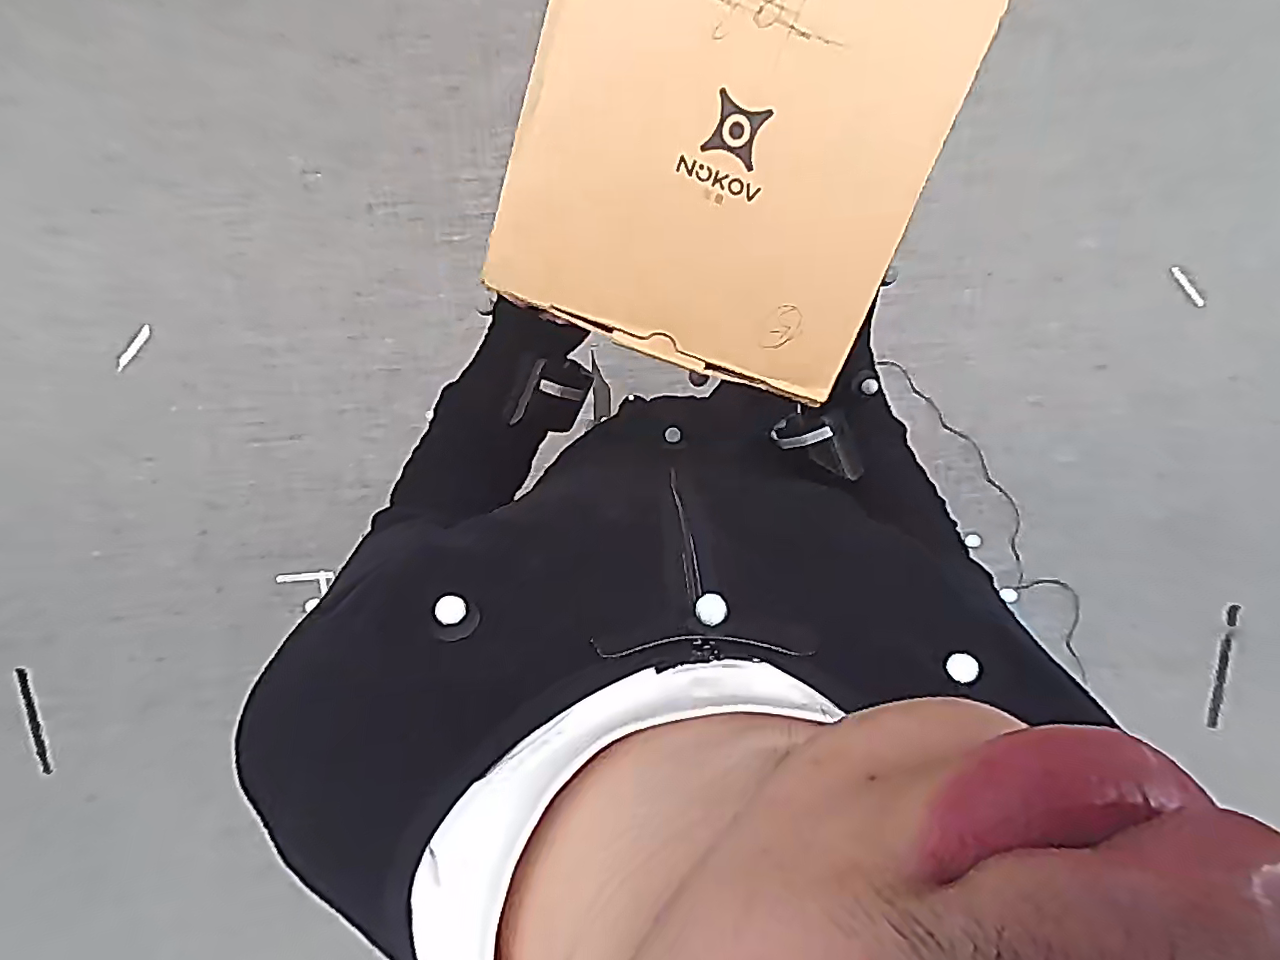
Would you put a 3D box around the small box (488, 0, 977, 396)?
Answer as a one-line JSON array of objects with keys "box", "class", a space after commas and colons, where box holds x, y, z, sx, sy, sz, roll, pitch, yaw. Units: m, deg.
[{"box": [0.030, -0.166, 0.305, 0.168, 0.176, 0.179, 16, 106, -9], "class": "small box"}]
